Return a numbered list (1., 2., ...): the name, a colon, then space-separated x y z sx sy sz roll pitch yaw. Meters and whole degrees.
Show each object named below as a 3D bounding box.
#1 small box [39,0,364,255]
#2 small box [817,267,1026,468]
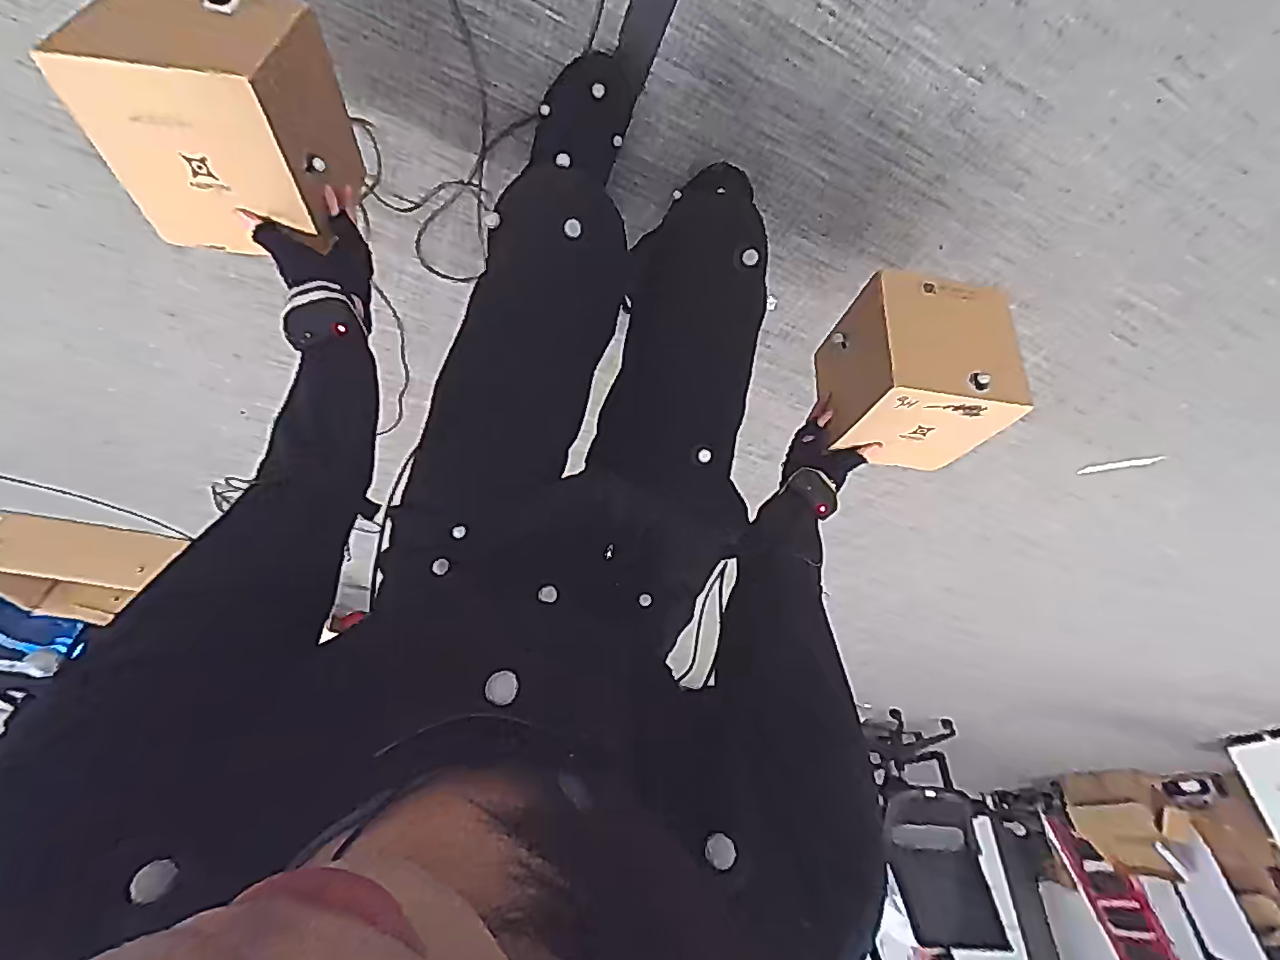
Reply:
1. small box: -0.408 -0.364 0.550 0.168 0.176 0.179 3 147 -5
2. small box: 0.340 -0.135 0.689 0.168 0.176 0.179 8 156 -6
